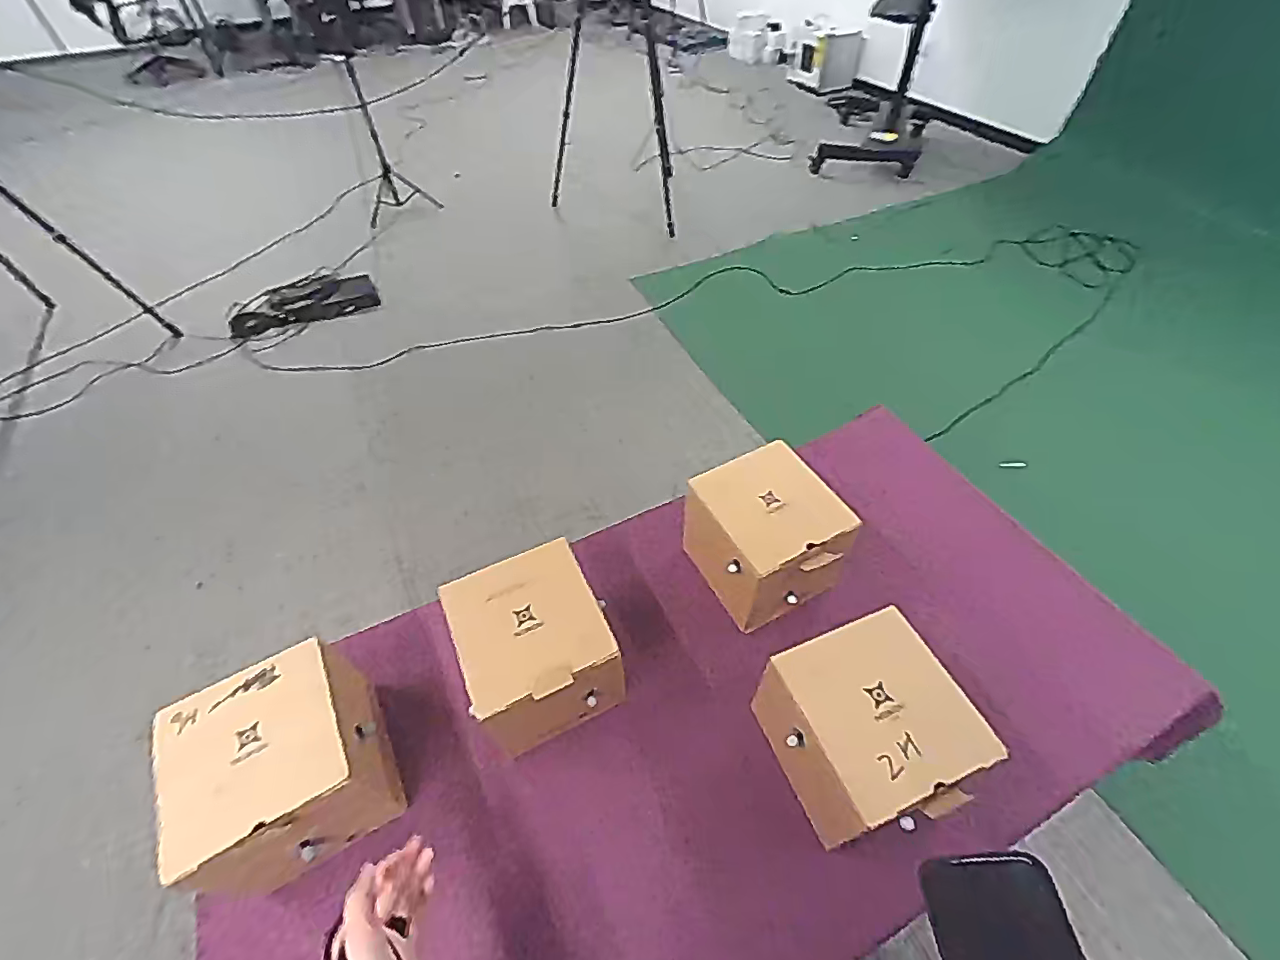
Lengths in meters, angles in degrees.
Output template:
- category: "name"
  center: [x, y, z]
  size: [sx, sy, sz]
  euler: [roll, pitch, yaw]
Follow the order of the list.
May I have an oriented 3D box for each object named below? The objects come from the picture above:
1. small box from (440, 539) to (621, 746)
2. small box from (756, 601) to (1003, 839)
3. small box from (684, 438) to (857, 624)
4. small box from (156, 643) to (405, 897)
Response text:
- category: "small box"
  center: [-0.131, 0.213, 0.689]
  size: [0.168, 0.176, 0.179]
  euler: [-22, 53, -16]
- category: "small box"
  center: [0.250, 0.275, 0.619]
  size: [0.168, 0.176, 0.179]
  euler: [-19, 52, -12]
- category: "small box"
  center: [0.174, 0.076, 0.789]
  size: [0.168, 0.176, 0.179]
  euler: [-25, 54, -17]
- category: "small box"
  center: [-0.390, 0.324, 0.607]
  size: [0.168, 0.176, 0.179]
  euler: [-26, 55, -19]
